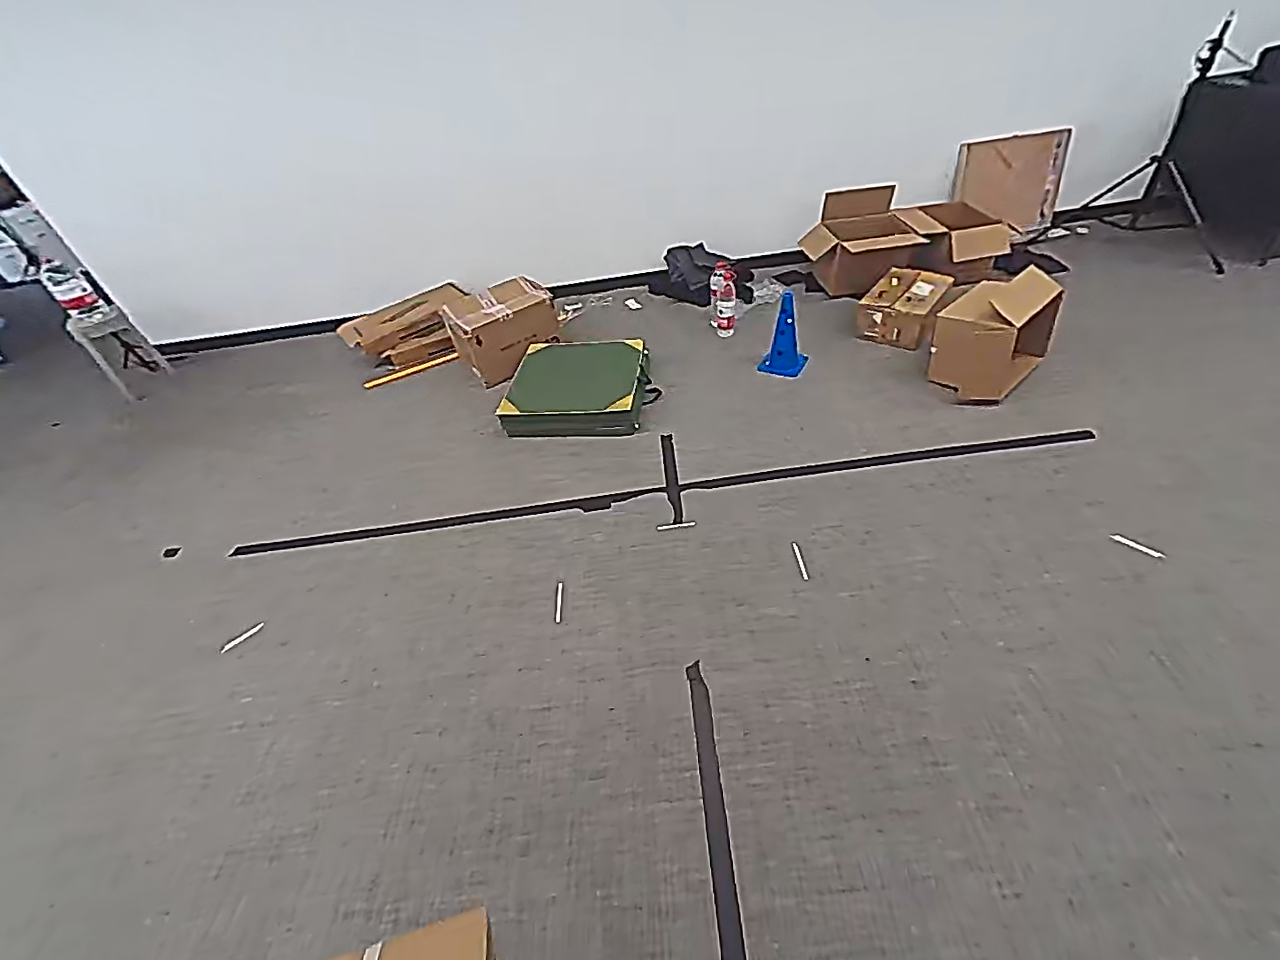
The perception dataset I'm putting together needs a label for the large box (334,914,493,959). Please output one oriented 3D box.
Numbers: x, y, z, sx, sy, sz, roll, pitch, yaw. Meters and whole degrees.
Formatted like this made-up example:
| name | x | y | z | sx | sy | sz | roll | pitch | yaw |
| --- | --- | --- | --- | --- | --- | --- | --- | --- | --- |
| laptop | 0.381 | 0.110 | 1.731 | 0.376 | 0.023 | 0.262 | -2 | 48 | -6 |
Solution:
| name | x | y | z | sx | sy | sz | roll | pitch | yaw |
| --- | --- | --- | --- | --- | --- | --- | --- | --- | --- |
| large box | -0.306 | 0.823 | 0.593 | 0.320 | 0.320 | 0.408 | -8 | 1 | -14 |
